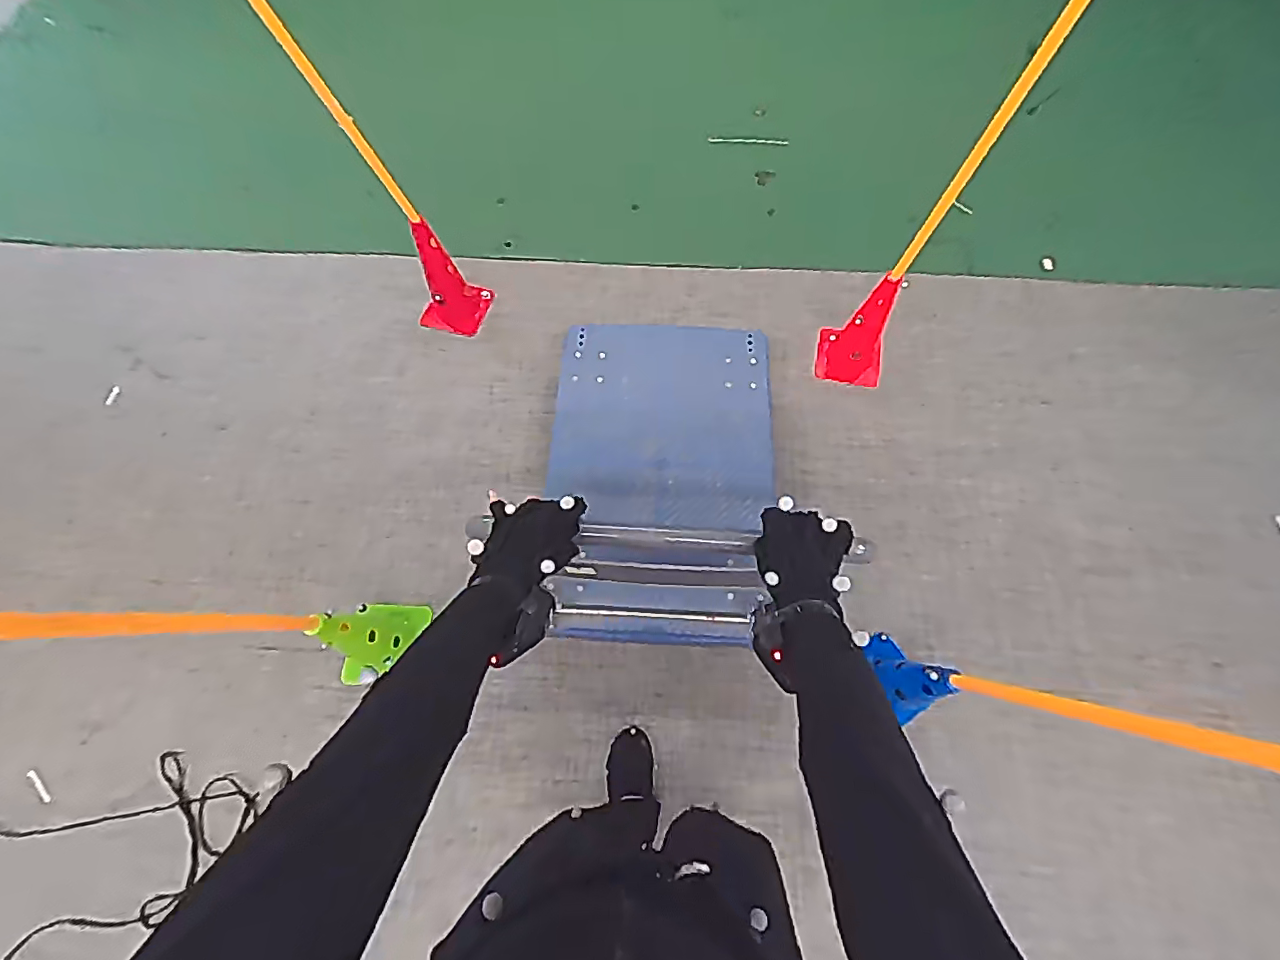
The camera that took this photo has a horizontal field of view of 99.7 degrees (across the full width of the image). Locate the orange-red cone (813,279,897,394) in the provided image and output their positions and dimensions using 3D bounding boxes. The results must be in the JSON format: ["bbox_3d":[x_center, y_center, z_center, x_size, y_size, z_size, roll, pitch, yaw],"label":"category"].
[{"bbox_3d":[0.658,-0.439,1.570,0.198,0.360,0.199,12,68,7],"label":"orange-red cone"}]
